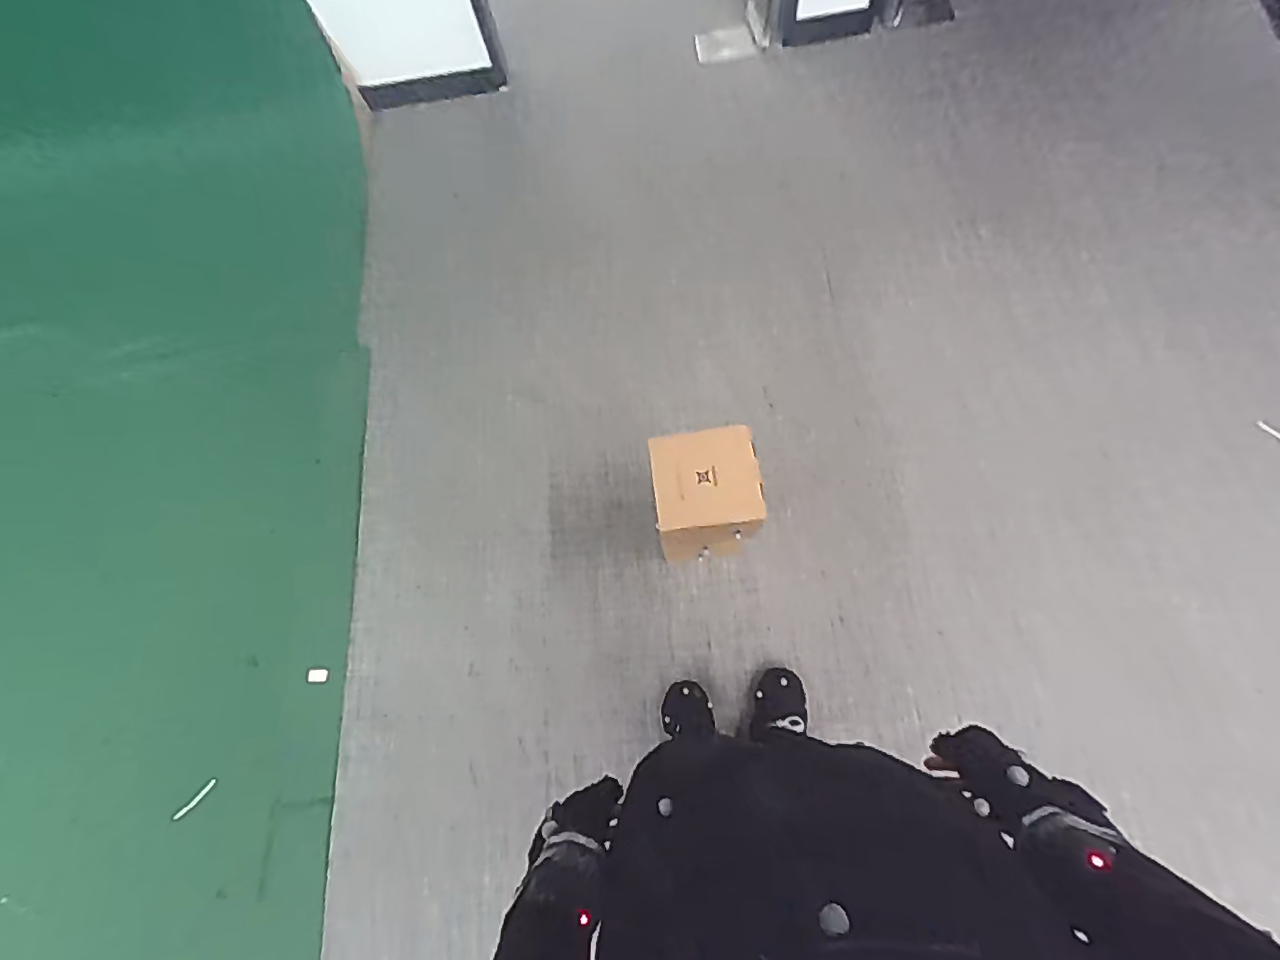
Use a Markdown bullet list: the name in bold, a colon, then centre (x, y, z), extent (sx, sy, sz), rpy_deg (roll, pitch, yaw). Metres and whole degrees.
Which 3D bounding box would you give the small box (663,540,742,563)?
- **small box**: centre (0.138, 0.098, 1.282), extent (0.179, 0.176, 0.168), rpy_deg (-6, 73, 4)

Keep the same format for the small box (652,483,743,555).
- **small box**: centre (0.121, 0.056, 1.125), extent (0.179, 0.176, 0.168), rpy_deg (-8, 73, 2)

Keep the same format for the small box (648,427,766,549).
- **small box**: centre (0.115, 0.021, 0.966), extent (0.179, 0.176, 0.168), rpy_deg (-9, 72, 4)
